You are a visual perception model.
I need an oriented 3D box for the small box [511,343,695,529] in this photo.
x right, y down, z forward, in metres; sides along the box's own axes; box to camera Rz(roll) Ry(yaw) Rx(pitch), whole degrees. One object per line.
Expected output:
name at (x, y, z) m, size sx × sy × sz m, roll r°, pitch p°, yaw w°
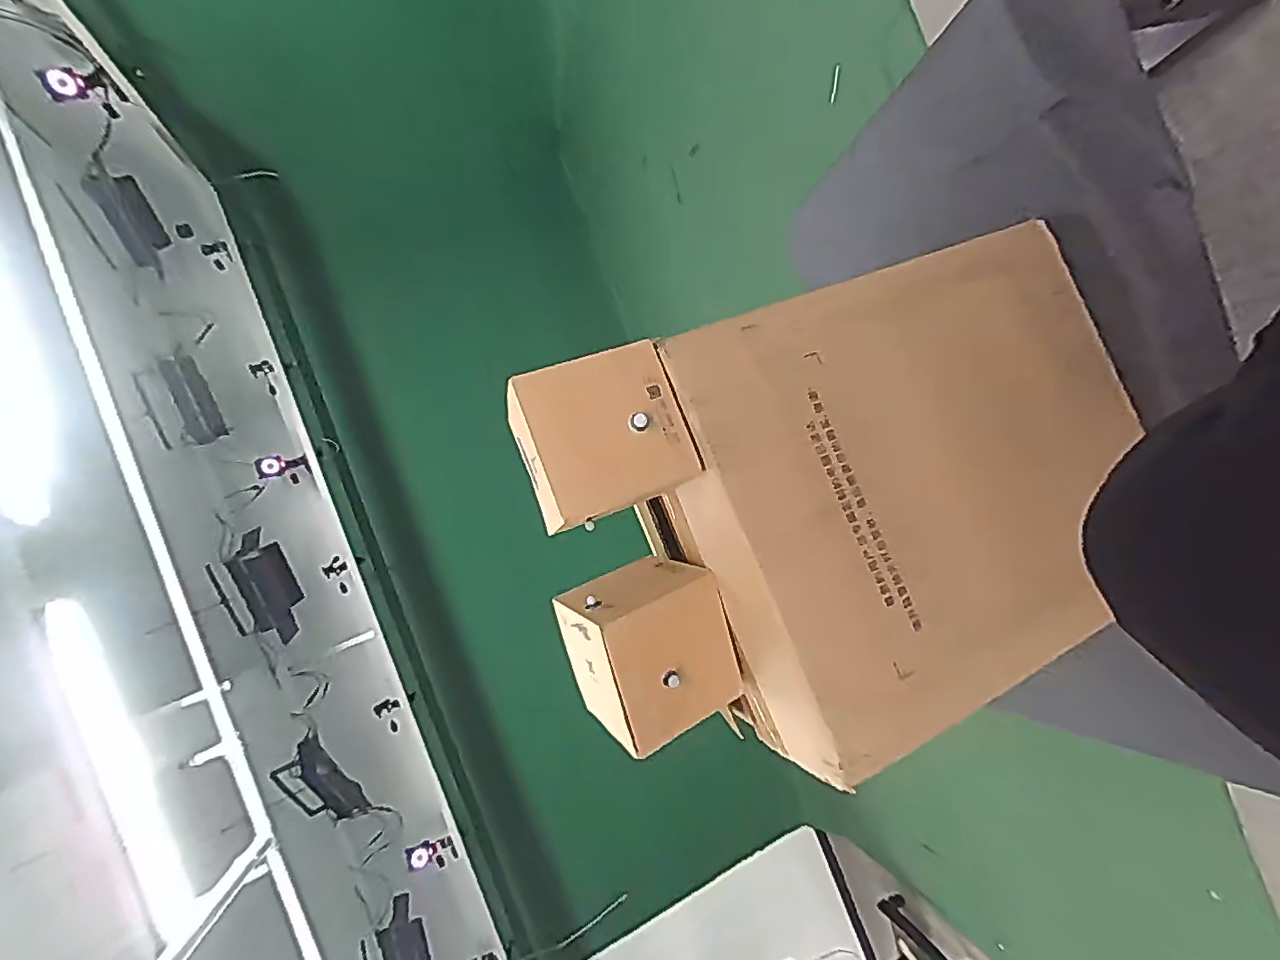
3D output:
small box at (-0.052, -0.047, 0.671) m, size 0.168 × 0.176 × 0.179 m, roll 69°, pitch 163°, yaw 4°

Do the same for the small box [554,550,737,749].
small box at (0.009, 0.216, 0.738) m, size 0.168 × 0.176 × 0.179 m, roll 0°, pitch 109°, yaw 61°
